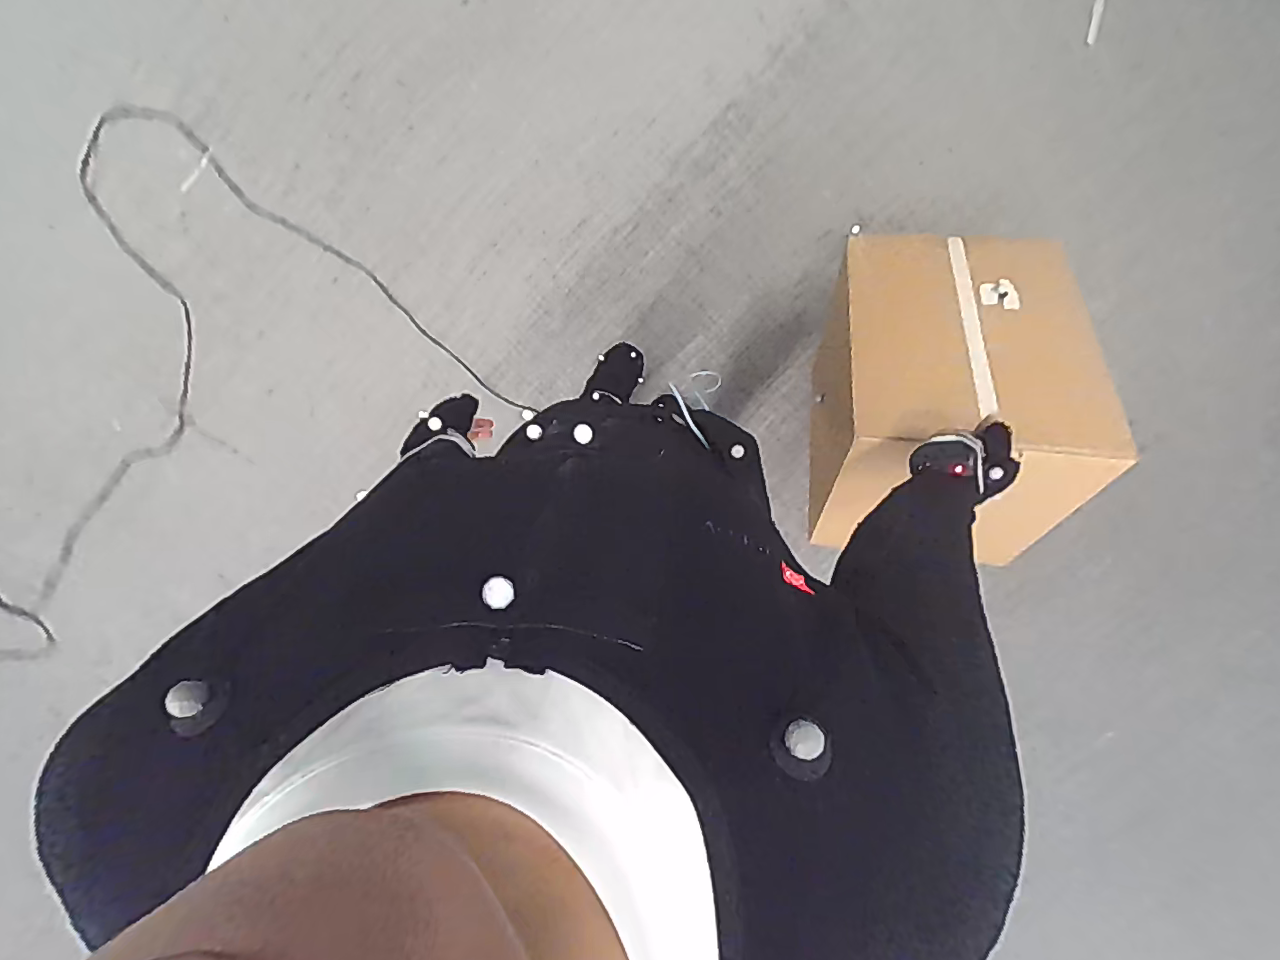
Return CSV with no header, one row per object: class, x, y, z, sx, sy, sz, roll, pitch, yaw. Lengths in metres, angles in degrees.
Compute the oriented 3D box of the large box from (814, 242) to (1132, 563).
large box,0.465,-0.120,0.872,0.320,0.408,0.320,7,149,8
